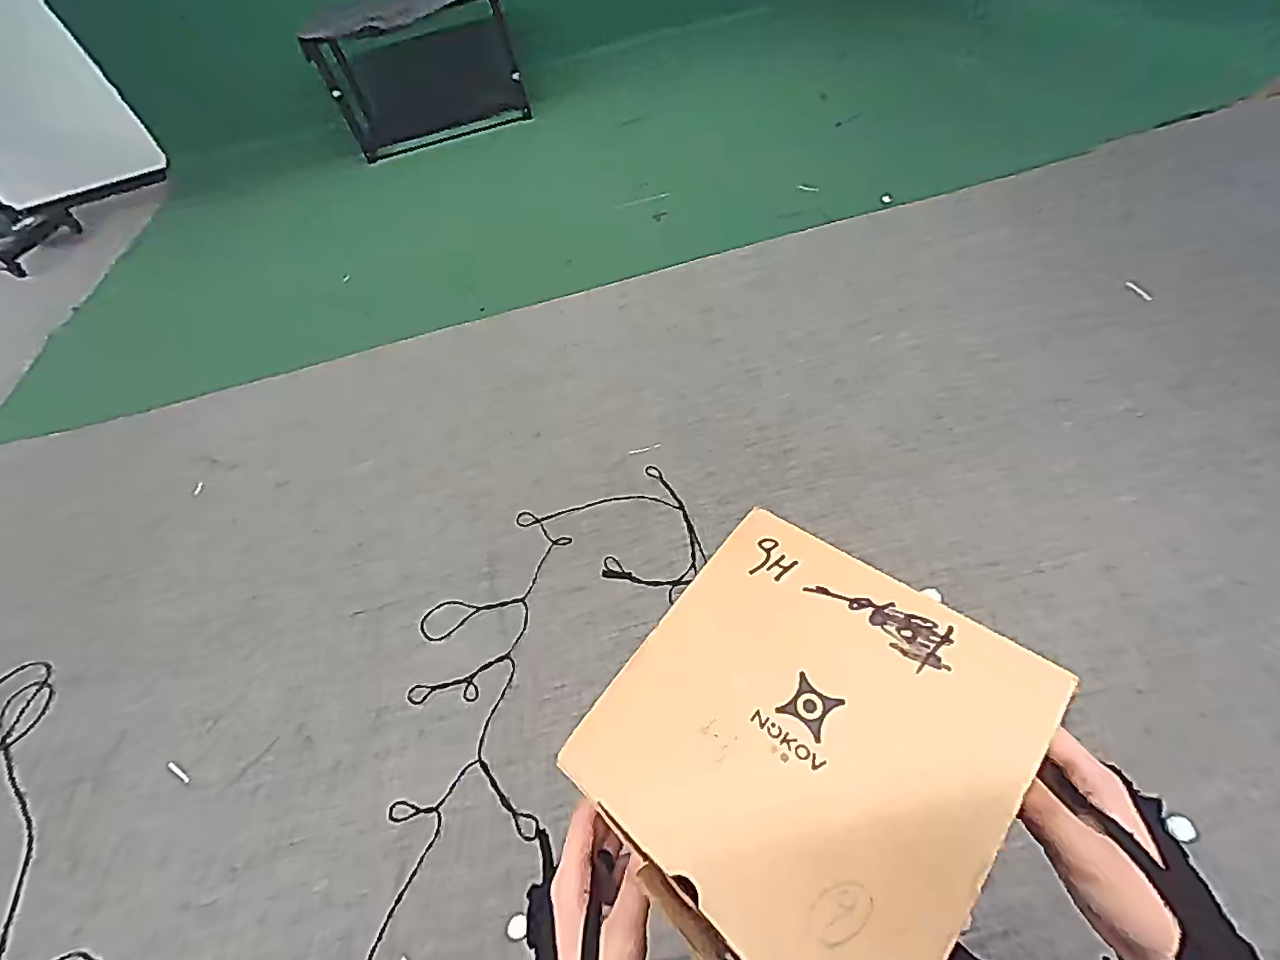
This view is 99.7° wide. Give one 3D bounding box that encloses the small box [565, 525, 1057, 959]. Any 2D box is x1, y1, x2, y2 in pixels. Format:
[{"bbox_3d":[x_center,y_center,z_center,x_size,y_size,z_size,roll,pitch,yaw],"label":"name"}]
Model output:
[{"bbox_3d":[0.093,0.166,0.318,0.168,0.176,0.179,30,68,33],"label":"small box"}]
